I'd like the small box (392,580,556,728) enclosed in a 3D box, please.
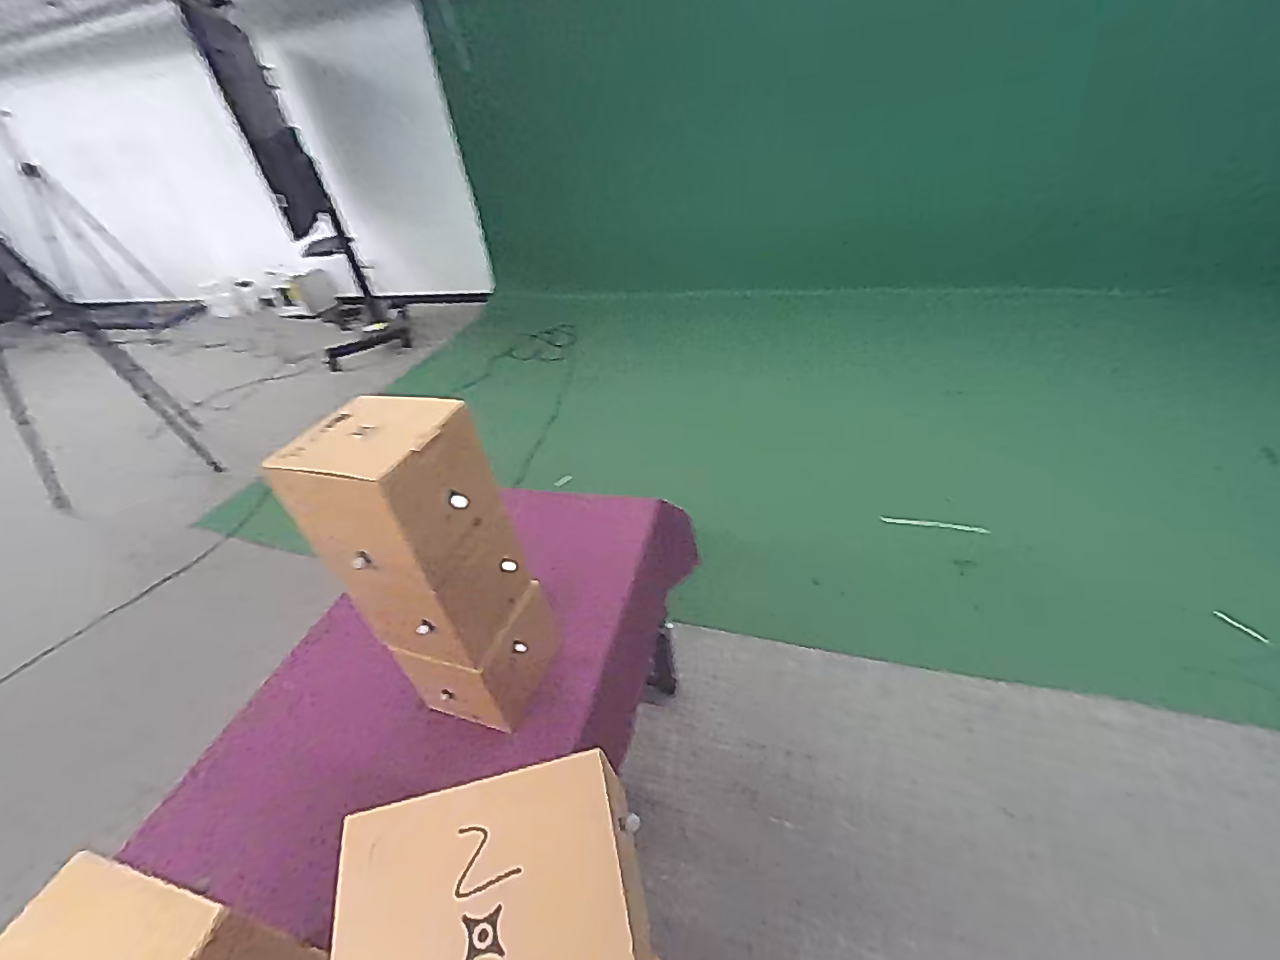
[{"bbox_3d":[-0.256,0.272,0.885,0.168,0.176,0.179,7,40,21],"label":"small box"}]

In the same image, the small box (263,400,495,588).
[{"bbox_3d":[-0.313,0.016,0.690,0.179,0.176,0.168,6,39,20],"label":"small box"}]

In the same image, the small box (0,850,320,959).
[{"bbox_3d":[-0.406,0.438,0.431,0.179,0.176,0.168,2,37,19],"label":"small box"}]

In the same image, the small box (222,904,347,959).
[{"bbox_3d":[-0.378,0.568,0.529,0.168,0.176,0.179,3,38,18],"label":"small box"}]

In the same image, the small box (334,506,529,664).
[{"bbox_3d":[-0.288,0.143,0.790,0.179,0.176,0.168,6,39,21],"label":"small box"}]
